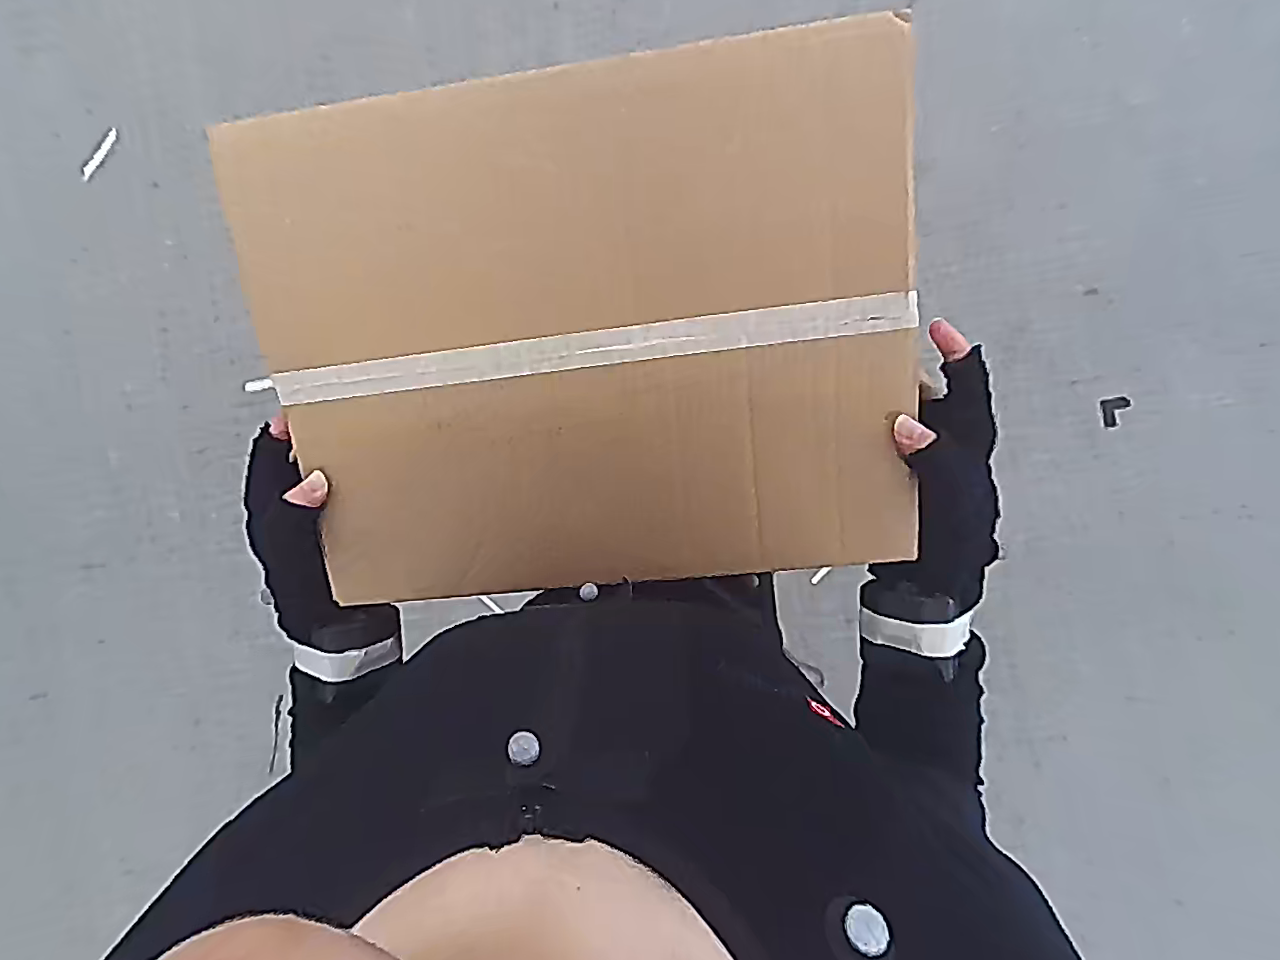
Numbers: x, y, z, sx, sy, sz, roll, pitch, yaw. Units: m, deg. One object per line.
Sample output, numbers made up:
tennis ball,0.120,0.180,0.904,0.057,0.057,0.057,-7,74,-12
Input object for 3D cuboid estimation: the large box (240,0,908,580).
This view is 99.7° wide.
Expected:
large box,-0.027,-0.128,0.492,0.408,0.320,0.320,-6,104,5
